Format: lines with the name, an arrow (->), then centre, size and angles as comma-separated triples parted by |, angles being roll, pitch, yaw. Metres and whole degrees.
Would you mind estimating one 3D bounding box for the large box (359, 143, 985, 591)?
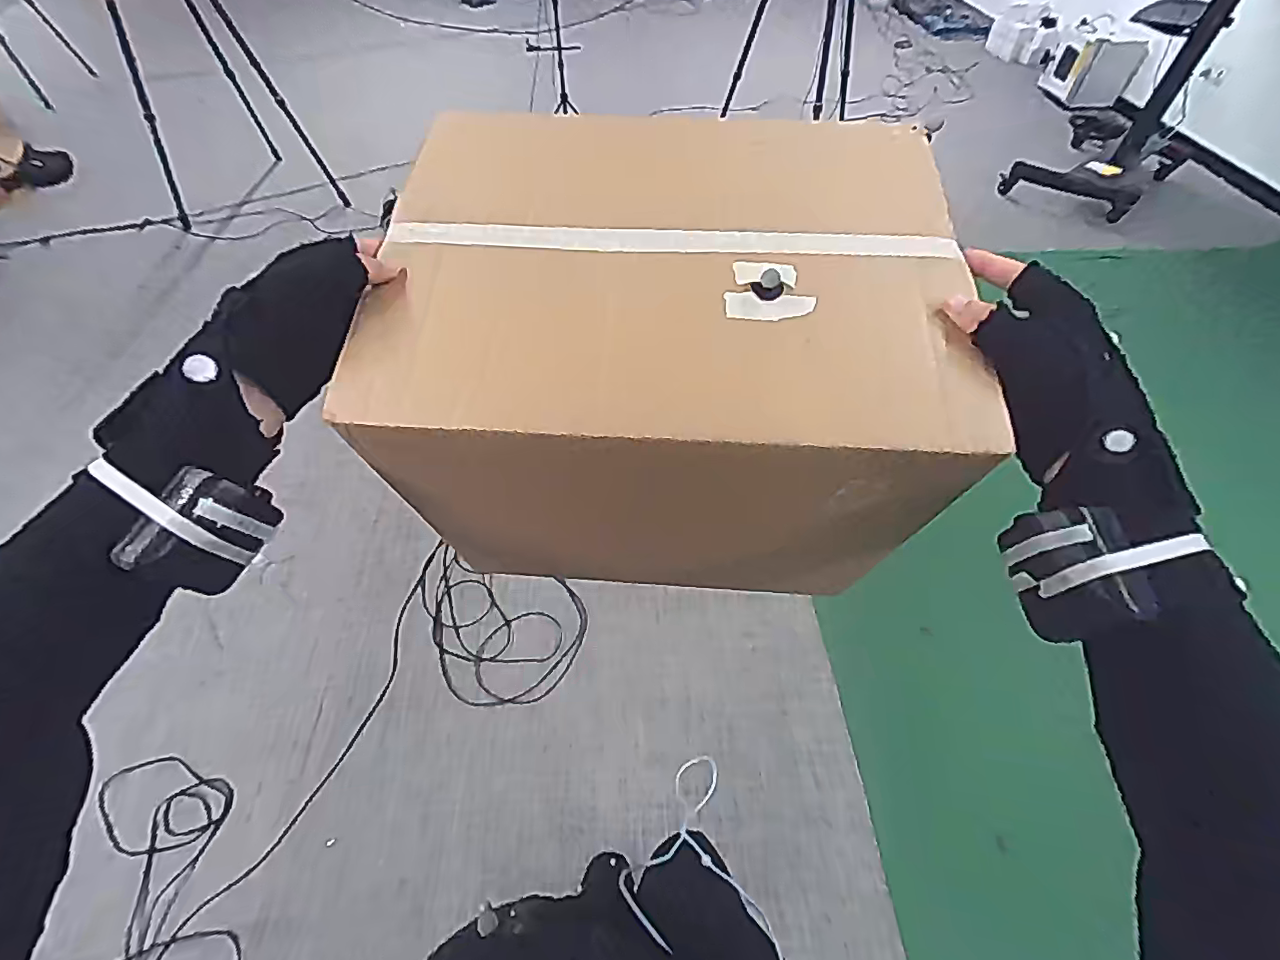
large box -> 0.024, -0.089, 0.538 | 0.408, 0.320, 0.320 | 3, 63, 2
